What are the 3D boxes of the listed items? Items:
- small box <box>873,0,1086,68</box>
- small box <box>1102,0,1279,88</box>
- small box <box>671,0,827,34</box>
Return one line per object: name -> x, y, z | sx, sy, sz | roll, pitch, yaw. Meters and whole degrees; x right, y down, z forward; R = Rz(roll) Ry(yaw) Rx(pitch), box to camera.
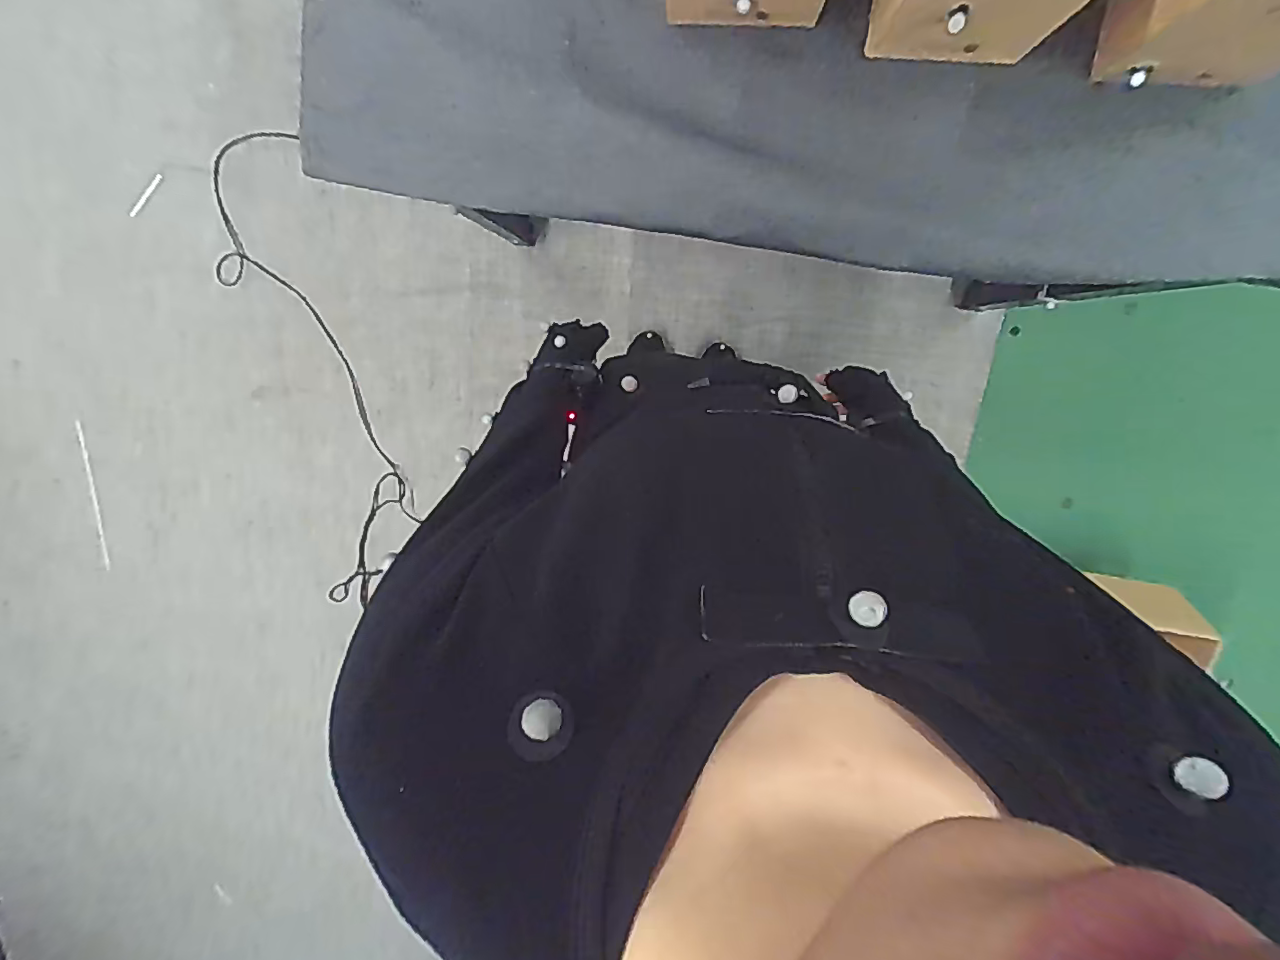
small box -> 0.332, -0.516, 0.496 | 0.168, 0.176, 0.179 | 5, 103, 4
small box -> 0.569, -0.483, 0.481 | 0.168, 0.176, 0.179 | 5, 103, 4
small box -> 0.113, -0.565, 0.501 | 0.168, 0.176, 0.179 | 5, 104, 4
